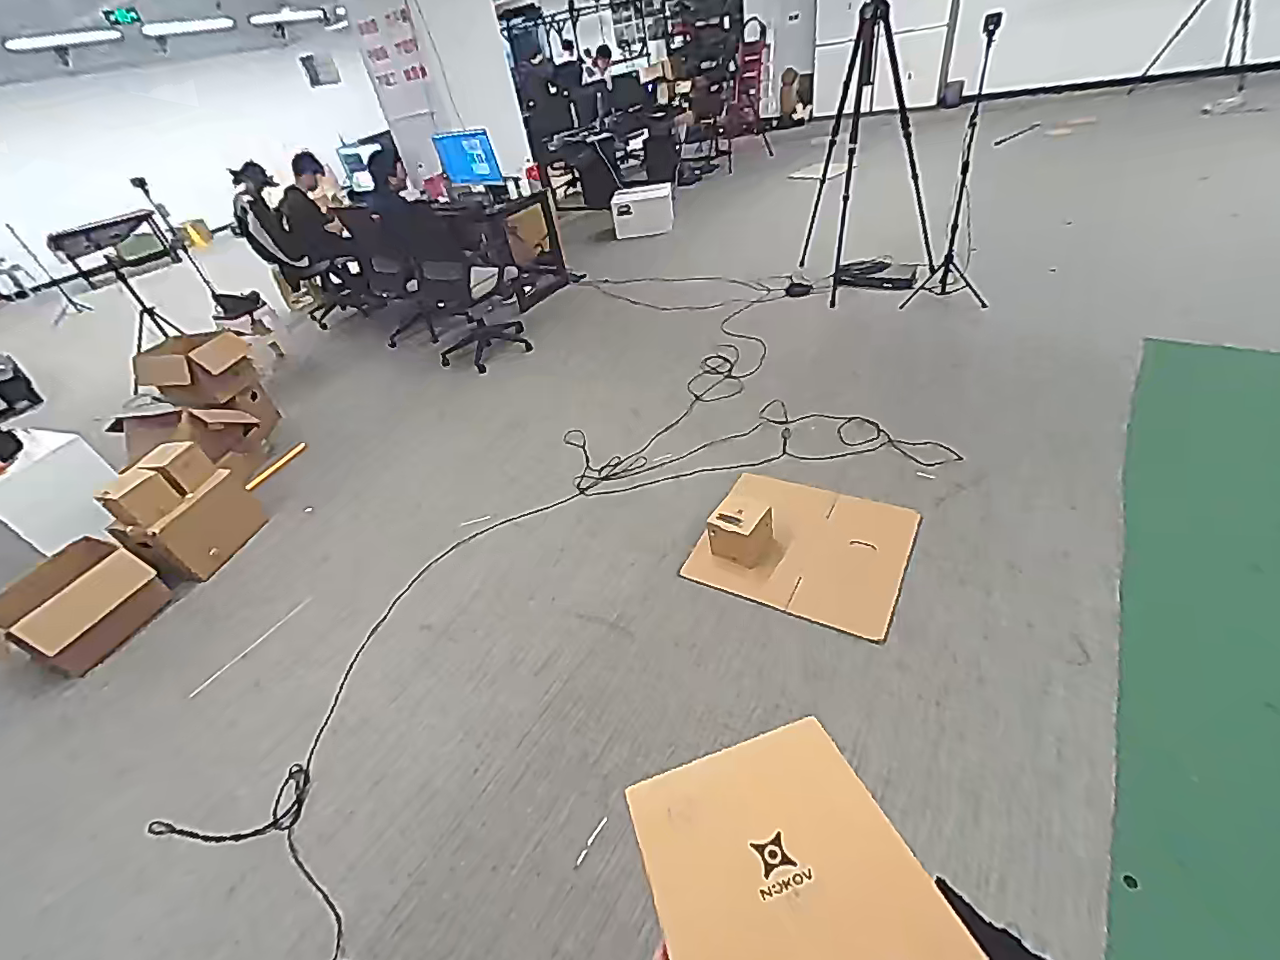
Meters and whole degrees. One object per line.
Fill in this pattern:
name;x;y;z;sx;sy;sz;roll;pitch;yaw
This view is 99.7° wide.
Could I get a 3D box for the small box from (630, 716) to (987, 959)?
small box;0.102;0.317;0.389;0.168;0.176;0.179;-16;28;-11
